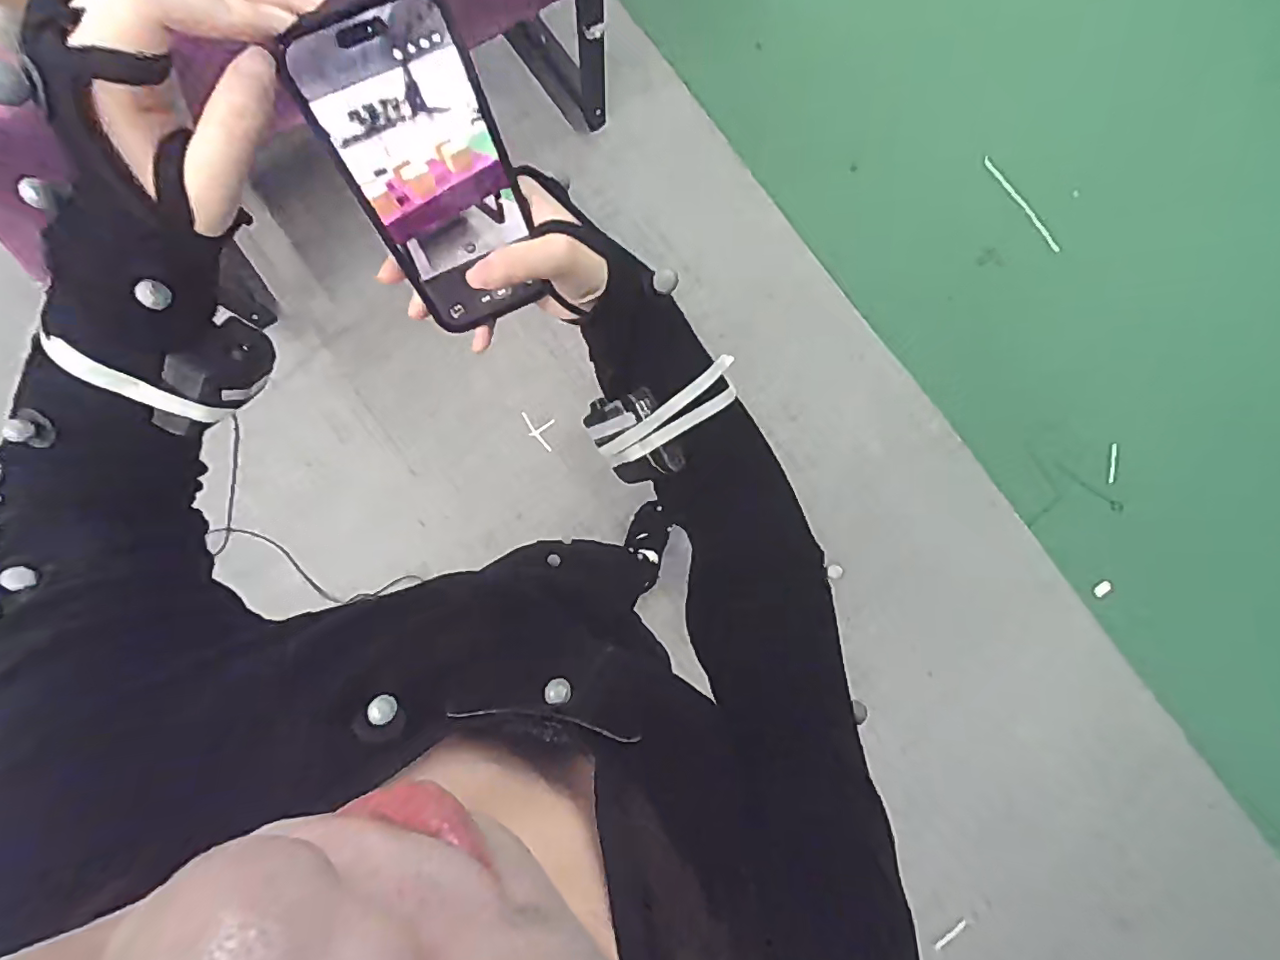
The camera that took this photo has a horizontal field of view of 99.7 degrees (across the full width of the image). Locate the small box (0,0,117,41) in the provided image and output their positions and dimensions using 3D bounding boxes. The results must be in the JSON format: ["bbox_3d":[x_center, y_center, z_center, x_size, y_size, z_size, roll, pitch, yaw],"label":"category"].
[{"bbox_3d":[-0.874,-0.761,0.733,0.179,0.176,0.168,-40,87,-8],"label":"small box"}]
